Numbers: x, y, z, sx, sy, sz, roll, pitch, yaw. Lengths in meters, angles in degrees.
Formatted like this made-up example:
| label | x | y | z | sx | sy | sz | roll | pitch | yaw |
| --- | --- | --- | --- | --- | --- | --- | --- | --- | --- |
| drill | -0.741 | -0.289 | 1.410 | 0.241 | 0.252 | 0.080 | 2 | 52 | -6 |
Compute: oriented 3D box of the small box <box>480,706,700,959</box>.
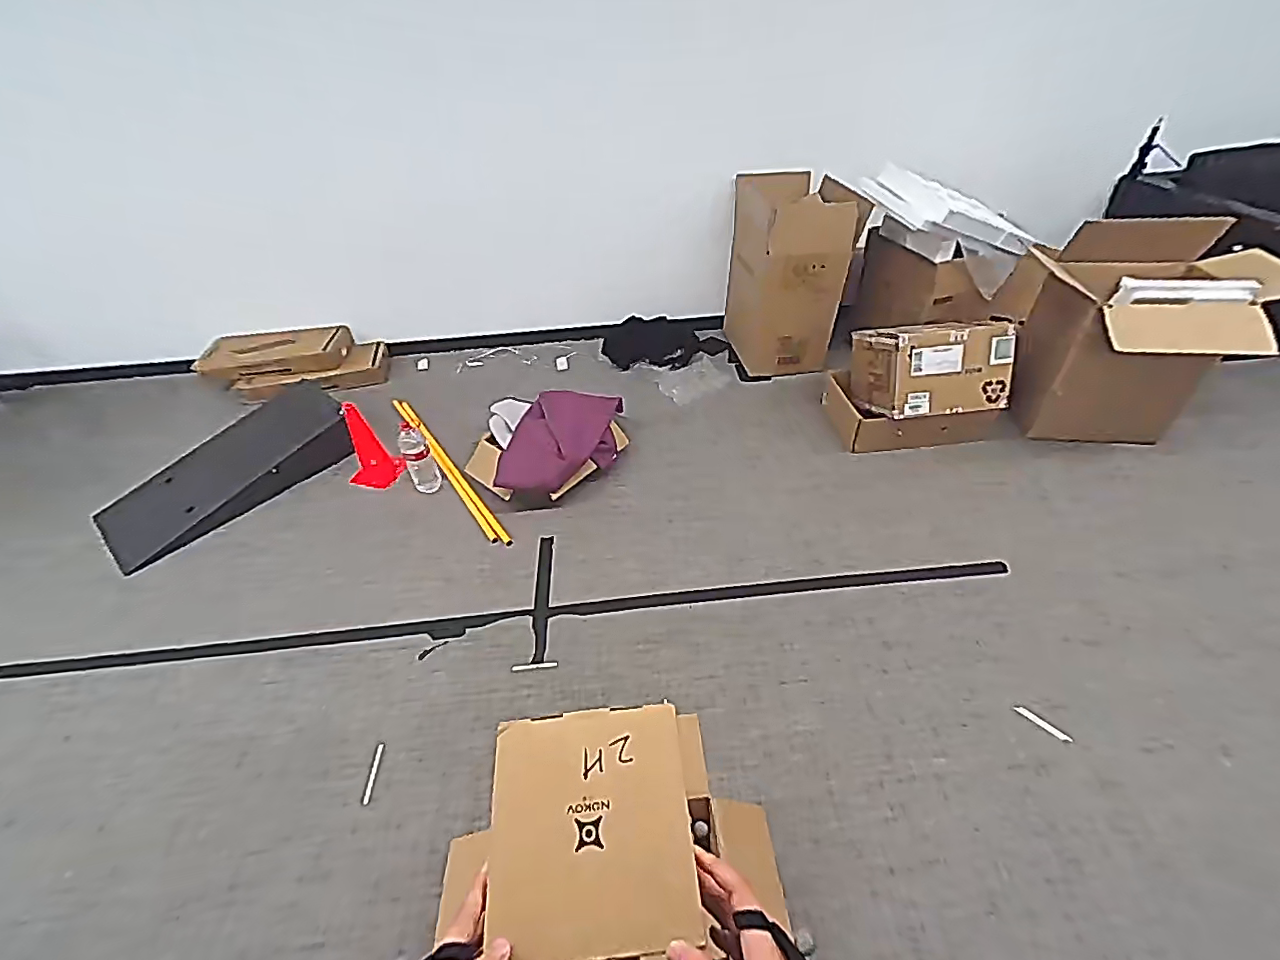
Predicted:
| label | x | y | z | sx | sy | sz | roll | pitch | yaw |
| --- | --- | --- | --- | --- | --- | --- | --- | --- | --- |
| small box | -0.037 | 0.333 | 0.504 | 0.168 | 0.176 | 0.179 | -6 | 50 | -1 |
